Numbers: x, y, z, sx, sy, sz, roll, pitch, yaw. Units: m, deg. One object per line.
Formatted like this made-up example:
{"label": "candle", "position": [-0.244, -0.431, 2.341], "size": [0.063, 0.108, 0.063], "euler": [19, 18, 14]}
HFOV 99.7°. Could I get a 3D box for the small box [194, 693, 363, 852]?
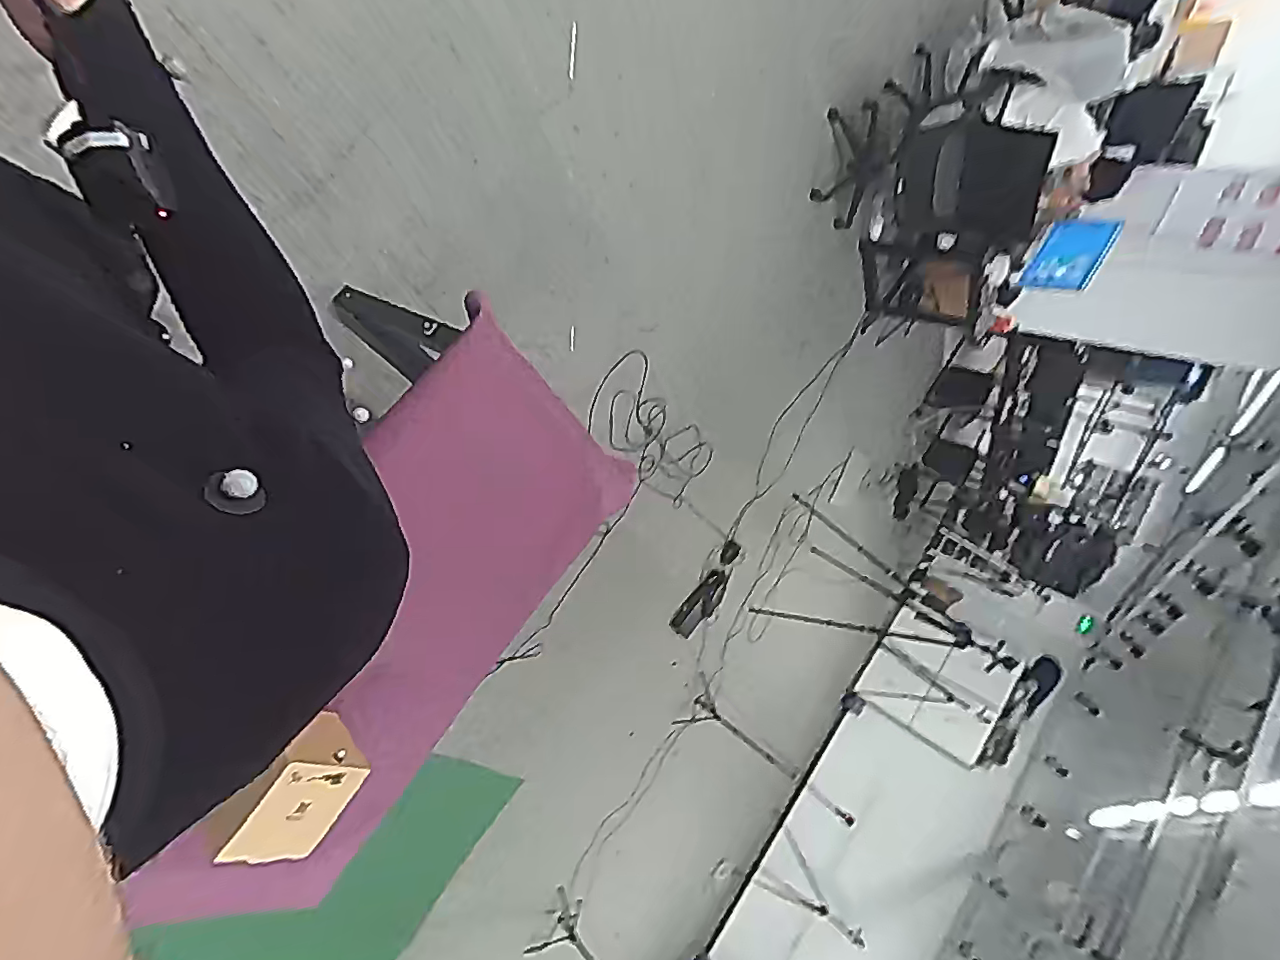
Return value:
{"label": "small box", "position": [-0.642, 0.516, 0.958], "size": [0.179, 0.176, 0.168], "euler": [-53, 142, -12]}
